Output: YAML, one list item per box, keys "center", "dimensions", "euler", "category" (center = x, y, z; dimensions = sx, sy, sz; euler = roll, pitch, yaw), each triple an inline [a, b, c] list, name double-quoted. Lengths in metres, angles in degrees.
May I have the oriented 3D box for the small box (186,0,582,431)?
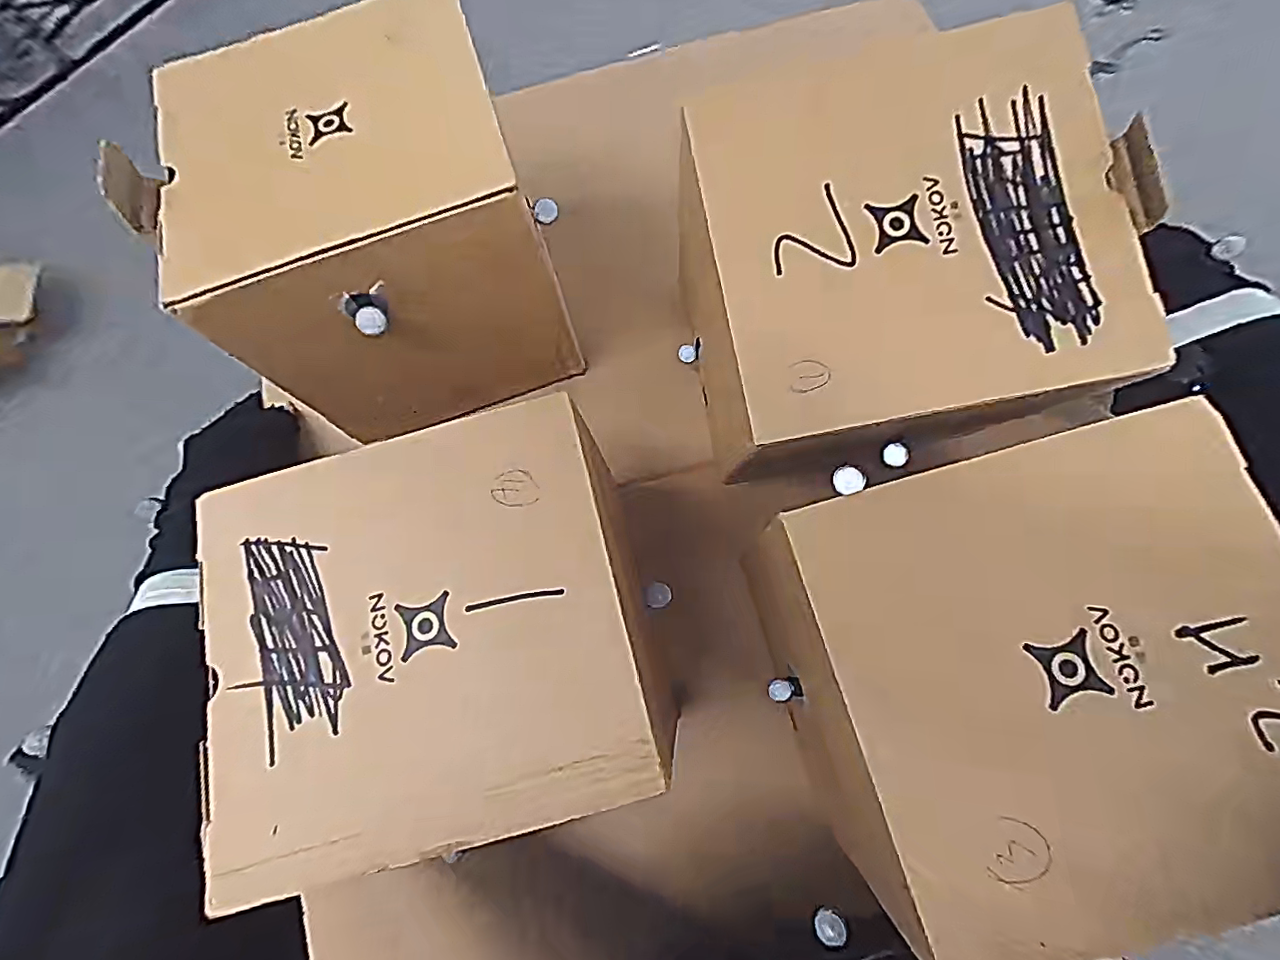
- center: [-0.146, -0.156, 0.360]
  dimensions: [0.179, 0.176, 0.168]
  euler: [-18, 70, 1]
  category: "small box"
